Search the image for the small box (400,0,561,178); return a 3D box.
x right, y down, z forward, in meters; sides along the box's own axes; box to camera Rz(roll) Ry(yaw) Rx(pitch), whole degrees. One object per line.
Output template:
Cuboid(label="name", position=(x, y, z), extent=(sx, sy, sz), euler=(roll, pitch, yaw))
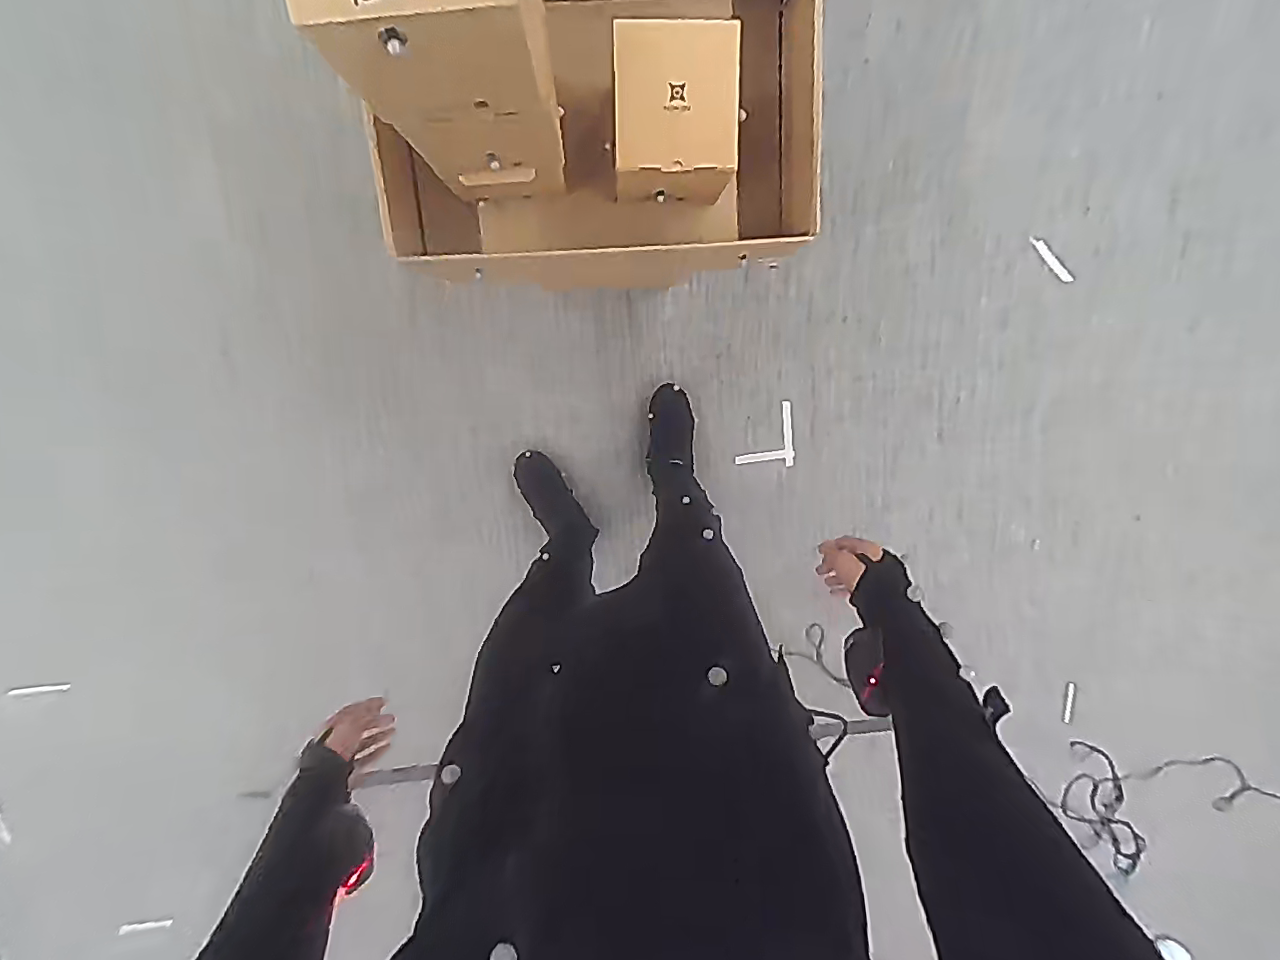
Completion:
Cuboid(label="small box", position=(-0.186, -0.468, 0.611), extent=(0.168, 0.176, 0.179), euler=(-7, 104, -1))

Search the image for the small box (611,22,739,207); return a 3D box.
Cuboid(label="small box", position=(0.043, -0.514, 0.784), extent=(0.168, 0.176, 0.179), euler=(-2, 104, -2))

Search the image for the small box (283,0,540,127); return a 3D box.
Cuboid(label="small box", position=(-0.184, -0.432, 0.450), extent=(0.168, 0.176, 0.179), euler=(-7, 102, -1))
